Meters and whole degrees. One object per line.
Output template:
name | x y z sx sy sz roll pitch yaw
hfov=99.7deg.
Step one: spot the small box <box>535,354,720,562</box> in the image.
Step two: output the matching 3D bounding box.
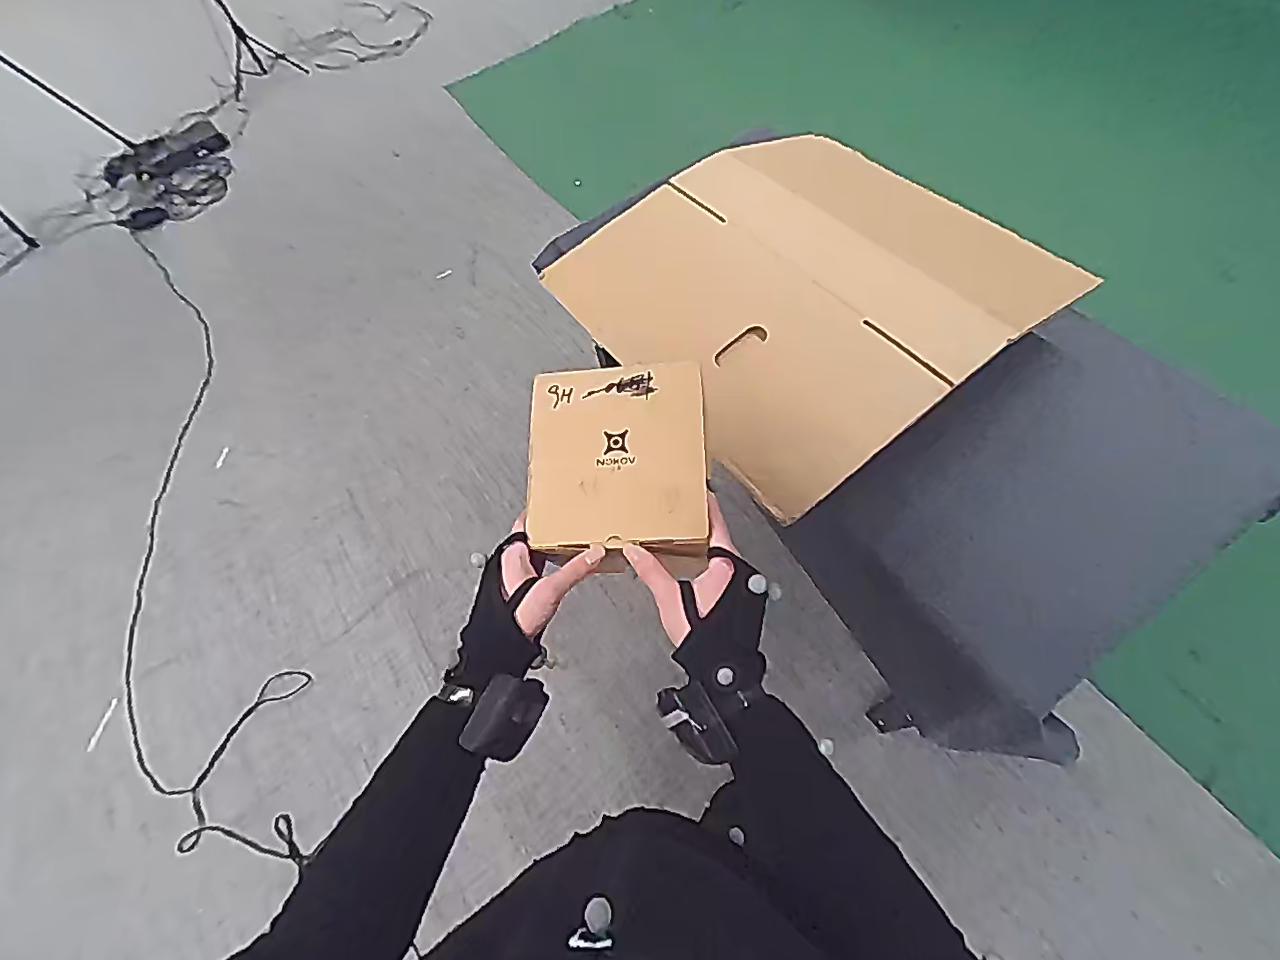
small box | -0.005 -0.009 0.579 0.168 0.176 0.179 -5 72 8
